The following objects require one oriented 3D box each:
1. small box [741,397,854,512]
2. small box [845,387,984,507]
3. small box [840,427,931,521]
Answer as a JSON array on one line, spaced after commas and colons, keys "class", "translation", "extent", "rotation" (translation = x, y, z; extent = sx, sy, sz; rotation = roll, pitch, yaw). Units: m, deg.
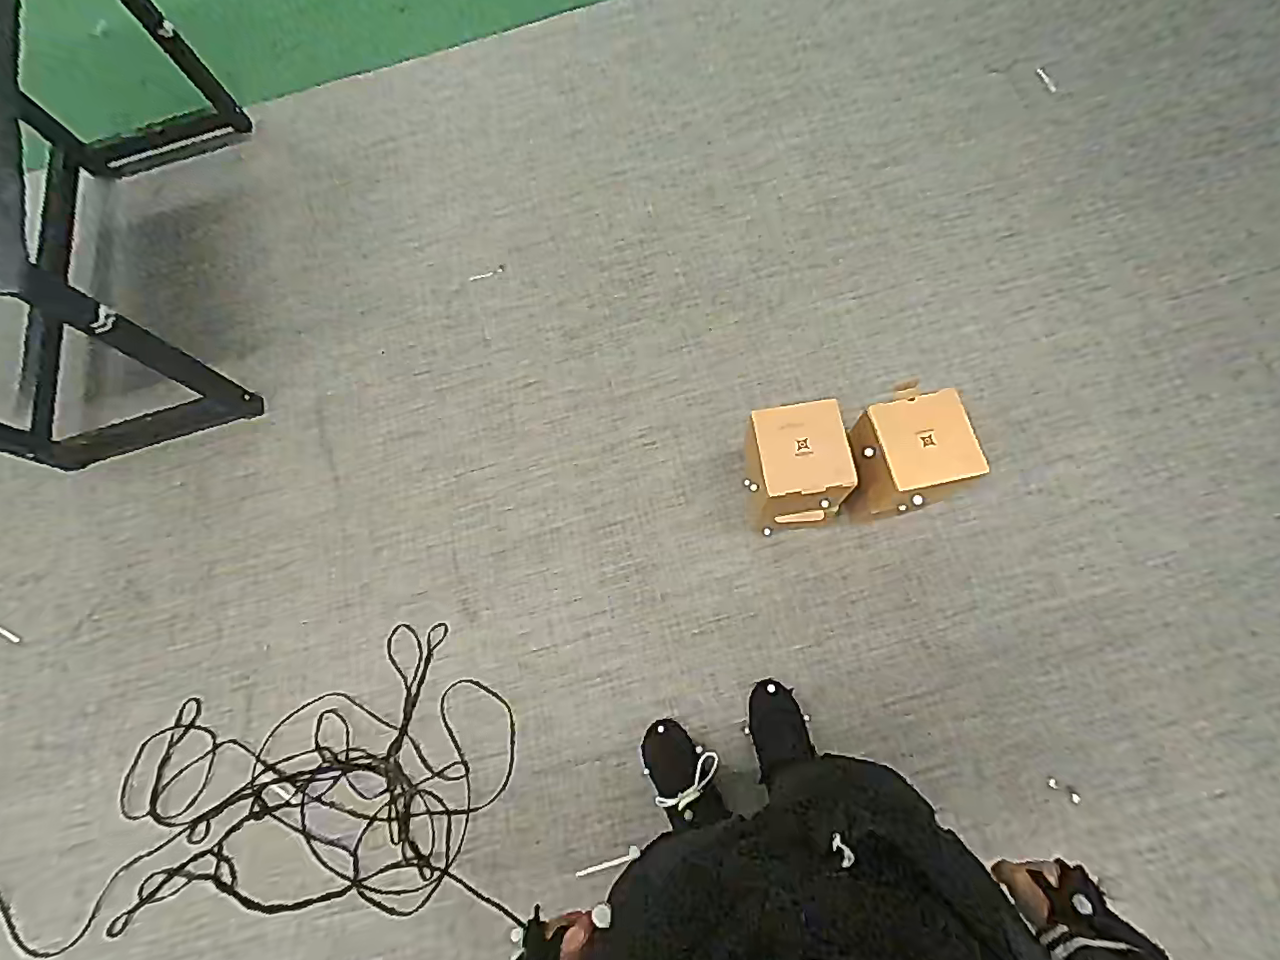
[{"class": "small box", "translation": [0.303, -0.041, 1.076], "extent": [0.168, 0.176, 0.179], "rotation": [-8, 71, 1]}, {"class": "small box", "translation": [0.523, -0.055, 1.059], "extent": [0.168, 0.176, 0.179], "rotation": [-12, 71, 2]}, {"class": "small box", "translation": [0.546, -0.022, 1.218], "extent": [0.168, 0.176, 0.179], "rotation": [-12, 71, 1]}]
